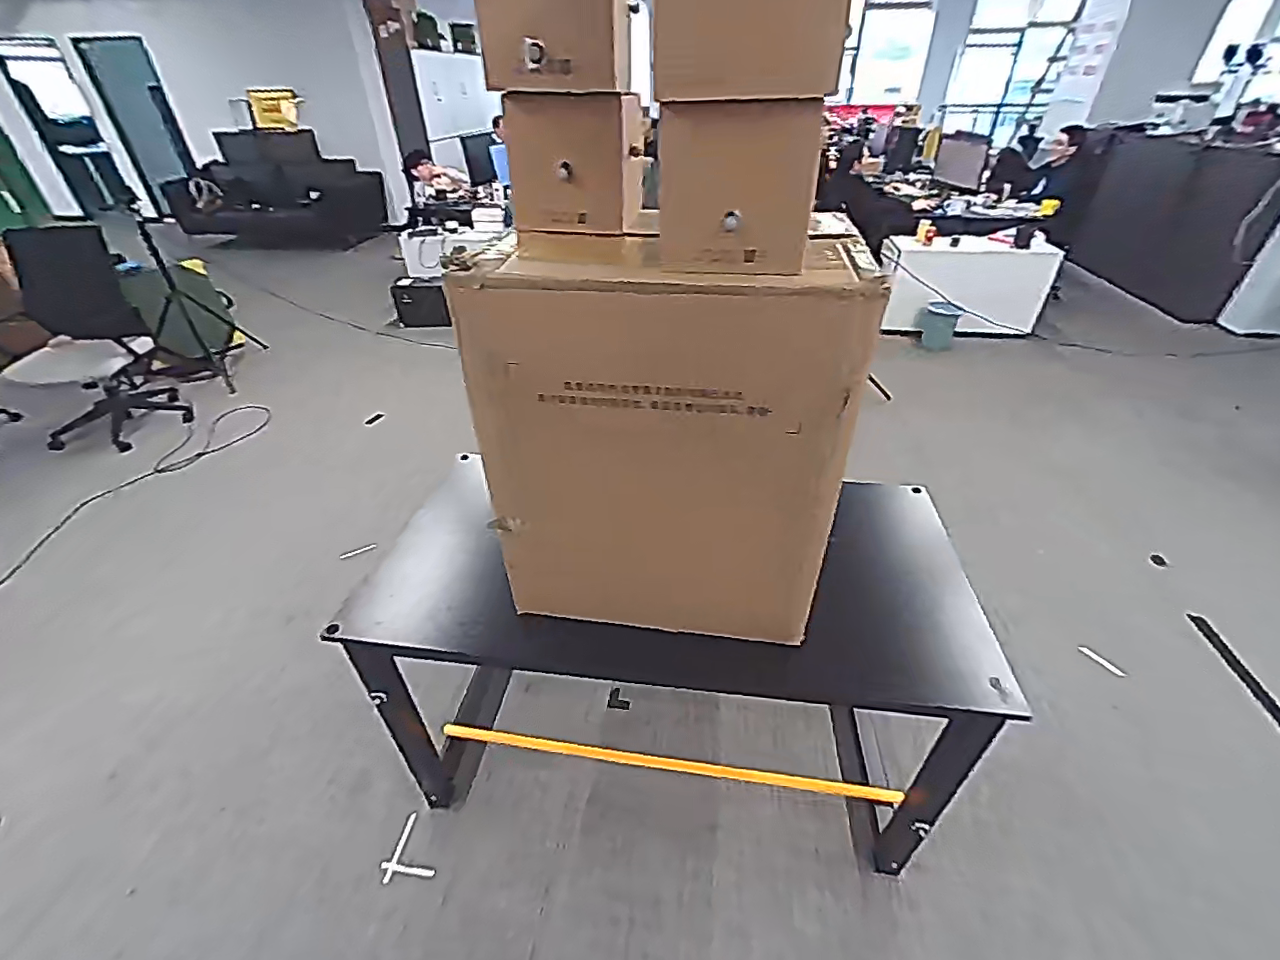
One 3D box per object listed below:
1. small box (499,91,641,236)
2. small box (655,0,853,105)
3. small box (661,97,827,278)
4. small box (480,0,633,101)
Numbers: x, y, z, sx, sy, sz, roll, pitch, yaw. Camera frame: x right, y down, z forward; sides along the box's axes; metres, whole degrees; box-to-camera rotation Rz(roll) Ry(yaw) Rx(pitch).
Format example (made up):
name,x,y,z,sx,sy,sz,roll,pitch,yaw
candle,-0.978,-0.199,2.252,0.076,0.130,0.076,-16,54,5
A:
name,x,y,z,sx,sy,sz,roll,pitch,yaw
small box,-0.089,-0.469,0.801,0.168,0.176,0.179,5,37,6
small box,0.106,-0.467,0.521,0.179,0.176,0.168,3,37,6
small box,0.117,-0.352,0.643,0.168,0.176,0.179,5,37,10
small box,-0.098,-0.582,0.678,0.168,0.176,0.179,2,36,5
